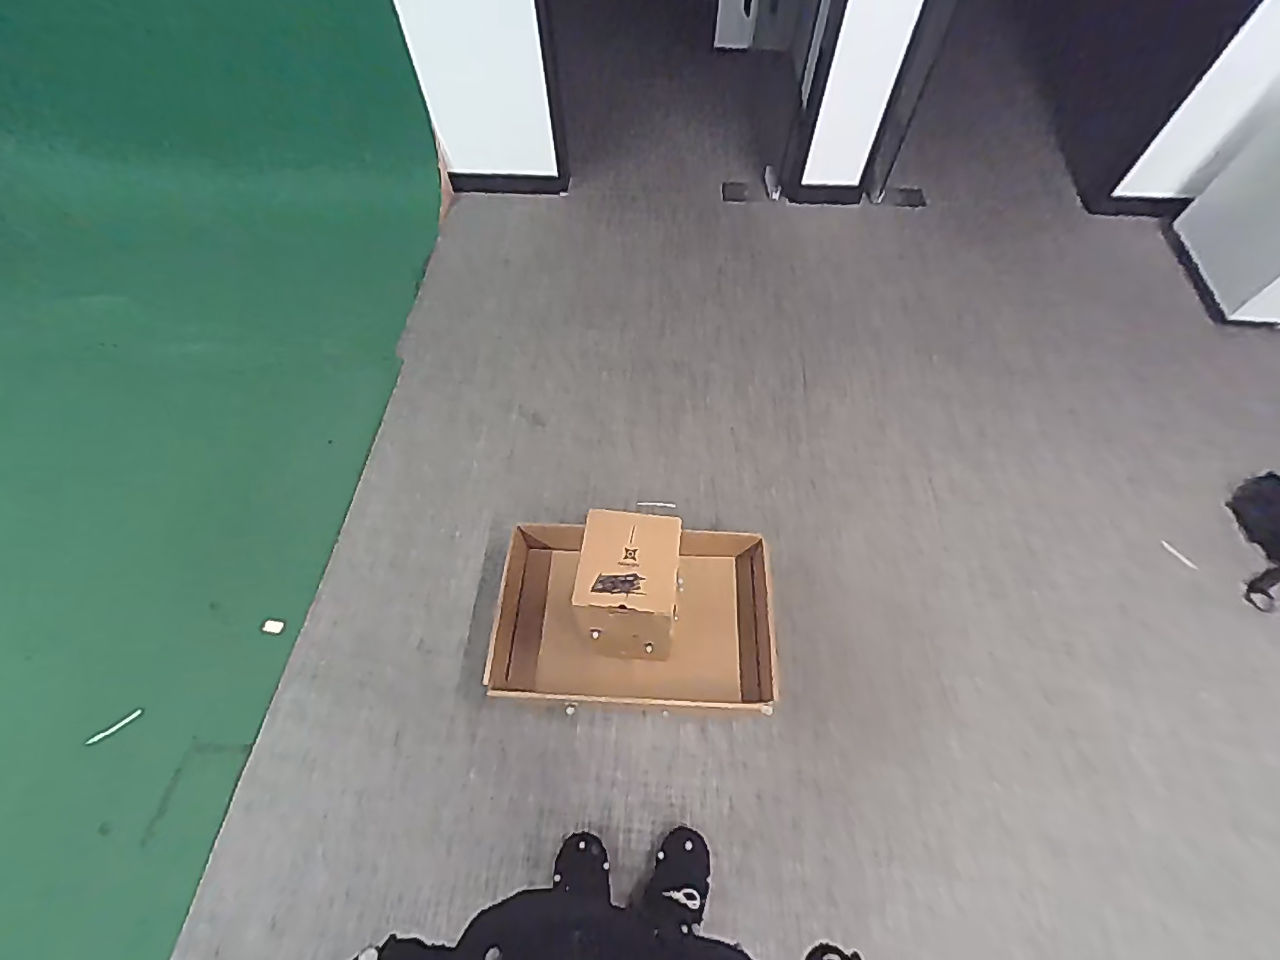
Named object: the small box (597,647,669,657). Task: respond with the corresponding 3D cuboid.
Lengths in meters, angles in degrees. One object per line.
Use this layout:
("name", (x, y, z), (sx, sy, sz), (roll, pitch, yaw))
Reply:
("small box", (-0.017, 0.313, 1.273), (0.179, 0.176, 0.168), (2, 59, 1))

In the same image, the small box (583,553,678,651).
("small box", (-0.016, 0.247, 1.103), (0.179, 0.176, 0.168), (2, 60, 1))

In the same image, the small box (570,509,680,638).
("small box", (-0.021, 0.174, 0.974), (0.168, 0.176, 0.179), (6, 59, 3))
